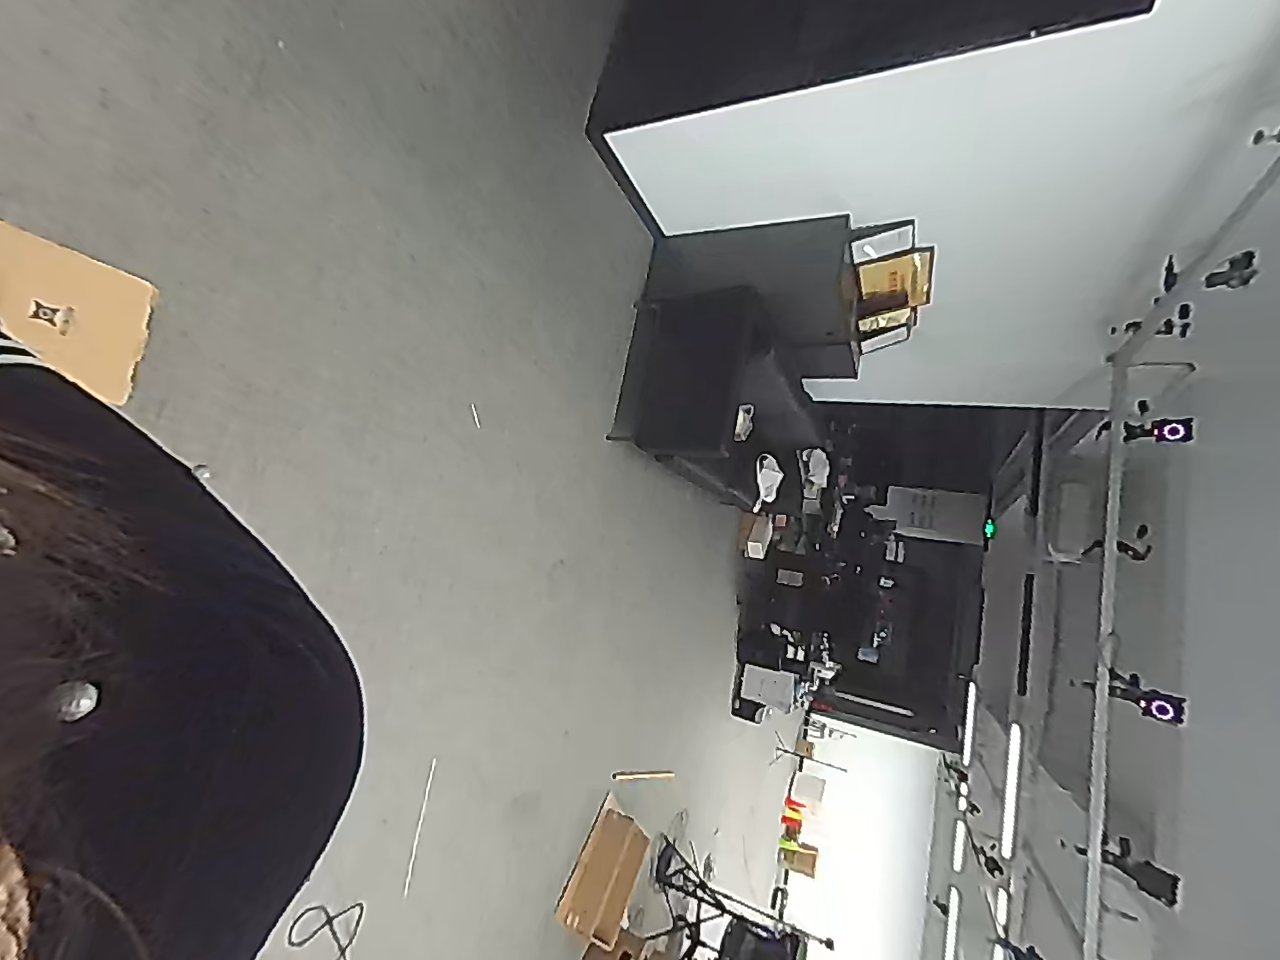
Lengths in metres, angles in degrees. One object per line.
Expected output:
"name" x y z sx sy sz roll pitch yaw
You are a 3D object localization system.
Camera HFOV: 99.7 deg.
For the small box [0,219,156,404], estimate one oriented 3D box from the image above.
"small box" -0.756 -0.199 0.659 0.179 0.176 0.168 25 72 -60
